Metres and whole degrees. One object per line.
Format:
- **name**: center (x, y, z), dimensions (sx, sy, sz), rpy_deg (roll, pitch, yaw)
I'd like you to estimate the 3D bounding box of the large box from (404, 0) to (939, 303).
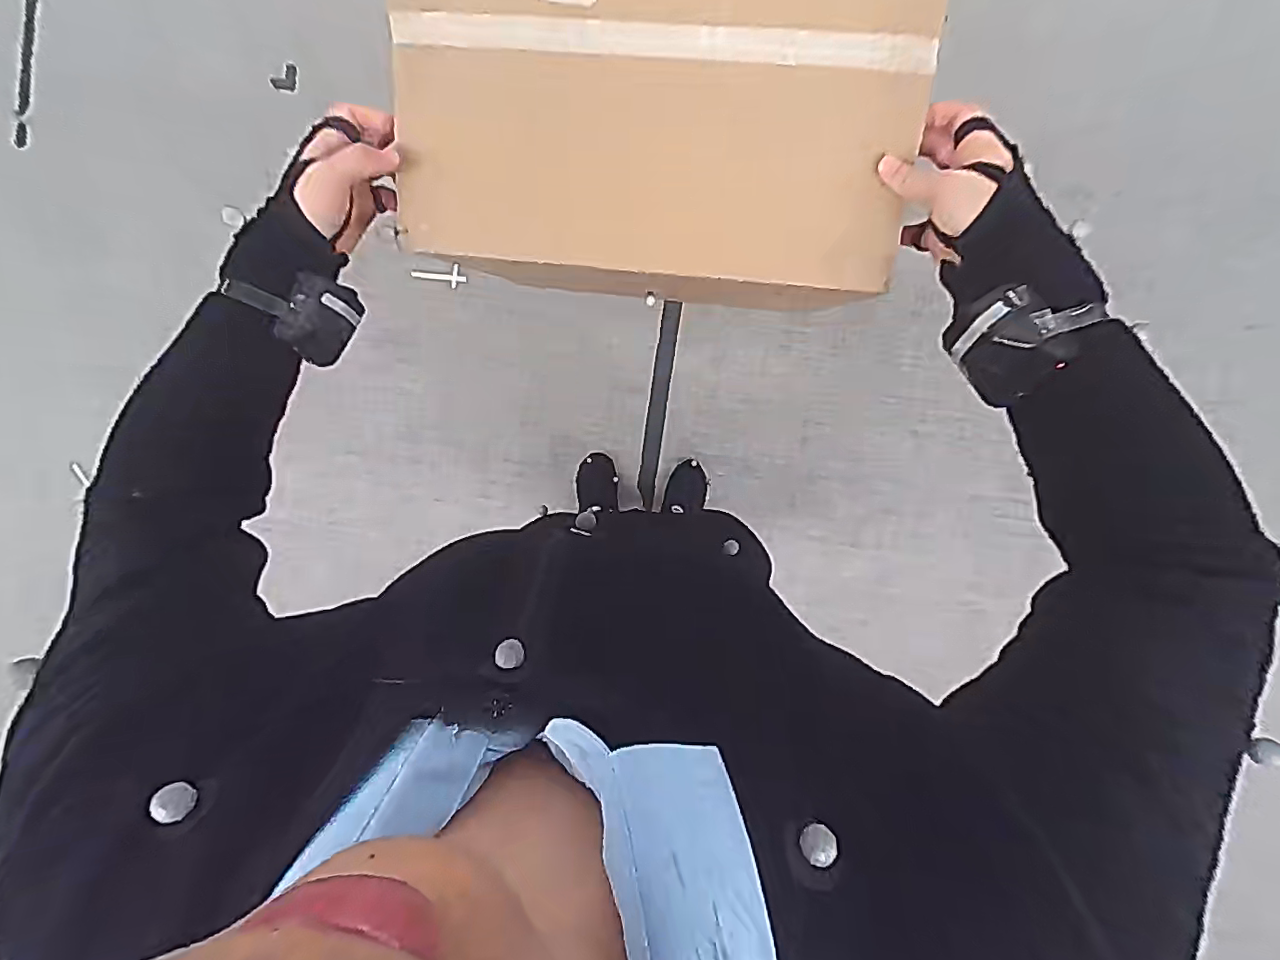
- **large box**: center (0.031, -0.359, 0.549), dimensions (0.408, 0.320, 0.320), rpy_deg (7, 104, 5)
